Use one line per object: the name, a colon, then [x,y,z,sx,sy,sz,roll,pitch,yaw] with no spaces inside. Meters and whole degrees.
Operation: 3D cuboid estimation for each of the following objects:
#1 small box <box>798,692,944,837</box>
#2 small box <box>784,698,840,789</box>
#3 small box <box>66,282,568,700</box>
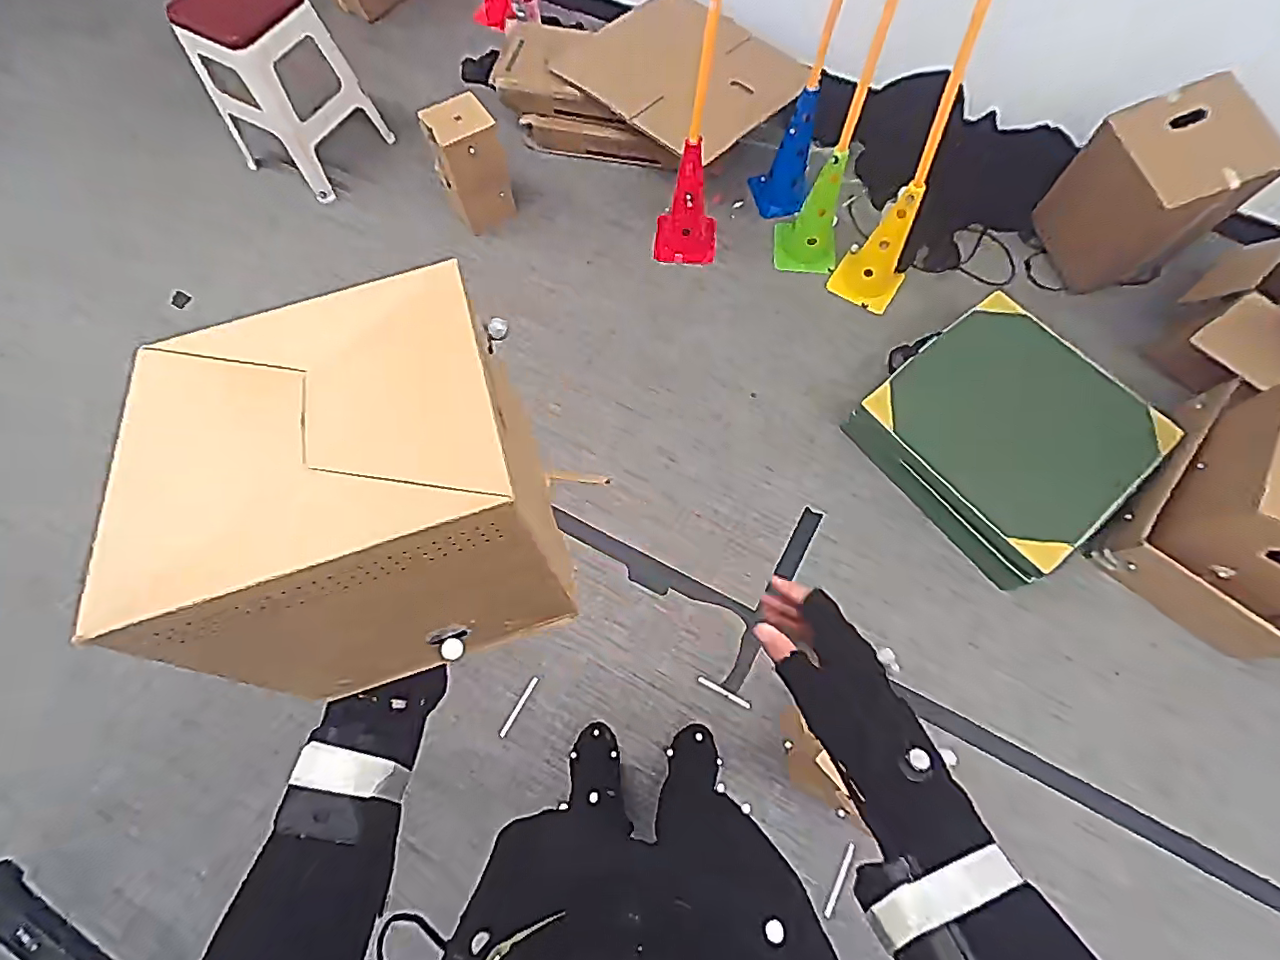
small box: [0.426,0.531,1.037,0.179,0.176,0.168,-35,75,-13]
small box: [0.428,0.575,1.197,0.179,0.176,0.168,-3,69,-2]
small box: [-0.161,0.012,0.322,0.179,0.176,0.168,-18,60,-5]
